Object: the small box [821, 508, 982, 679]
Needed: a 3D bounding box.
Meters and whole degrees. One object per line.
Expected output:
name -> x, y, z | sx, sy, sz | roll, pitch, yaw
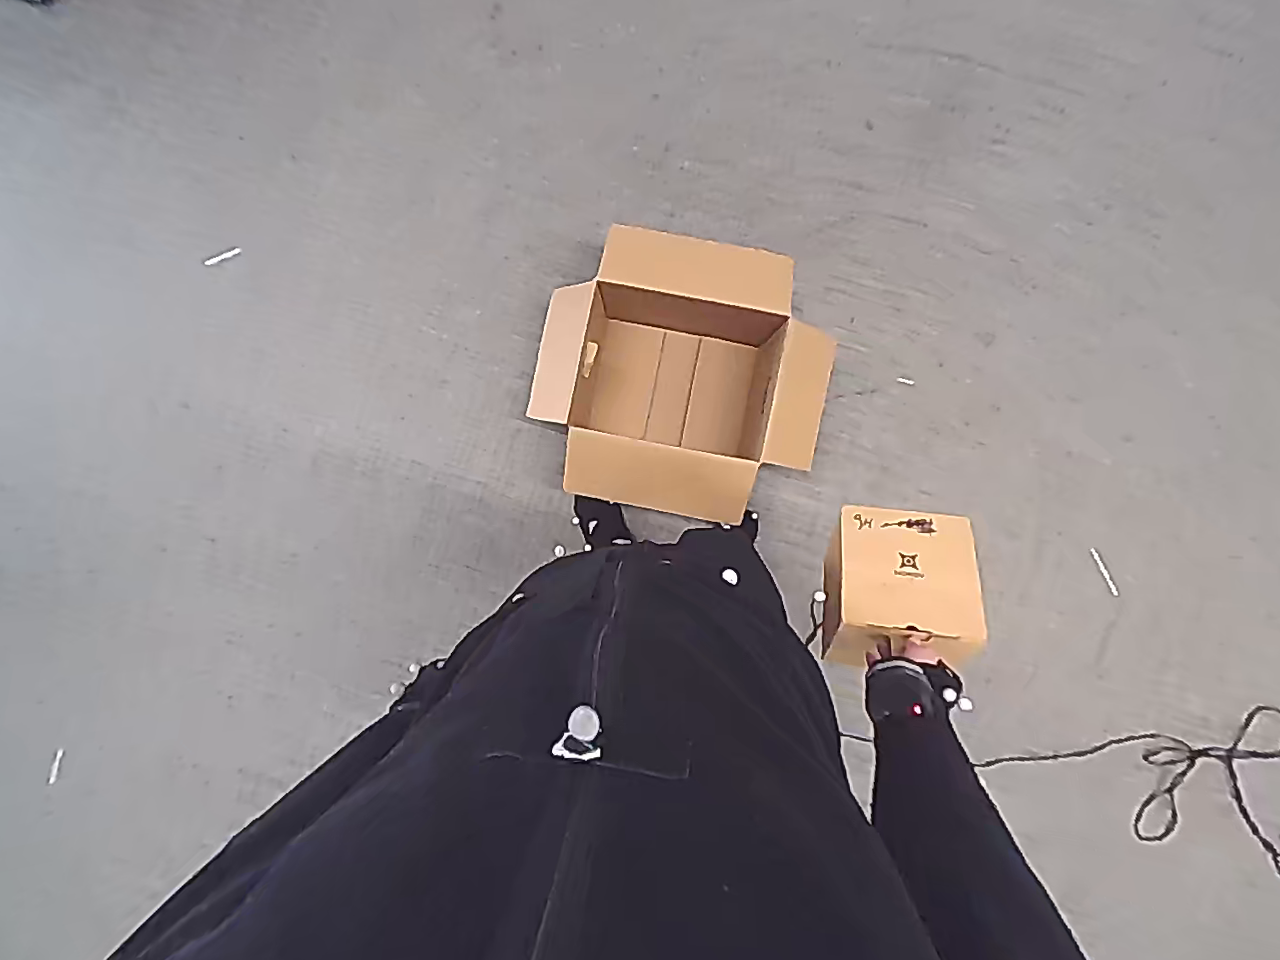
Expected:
small box -> 0.353, 0.163, 0.760 | 0.168, 0.176, 0.179 | 6, 55, 13
